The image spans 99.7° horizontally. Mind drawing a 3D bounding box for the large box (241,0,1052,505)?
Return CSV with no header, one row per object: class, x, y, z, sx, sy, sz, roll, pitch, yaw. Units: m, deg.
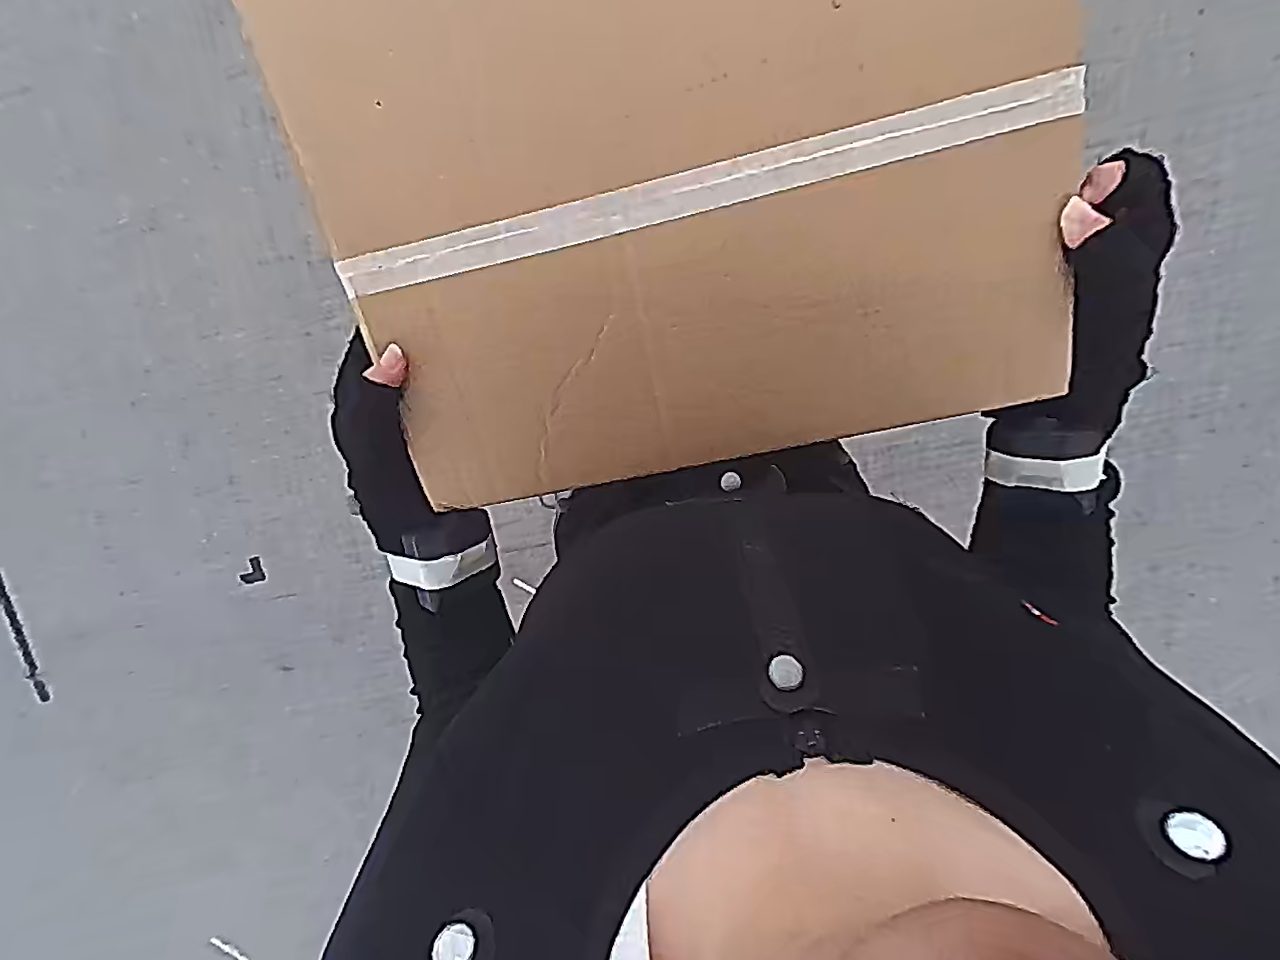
large box,0.026,-0.215,0.442,0.408,0.320,0.320,-11,110,7
